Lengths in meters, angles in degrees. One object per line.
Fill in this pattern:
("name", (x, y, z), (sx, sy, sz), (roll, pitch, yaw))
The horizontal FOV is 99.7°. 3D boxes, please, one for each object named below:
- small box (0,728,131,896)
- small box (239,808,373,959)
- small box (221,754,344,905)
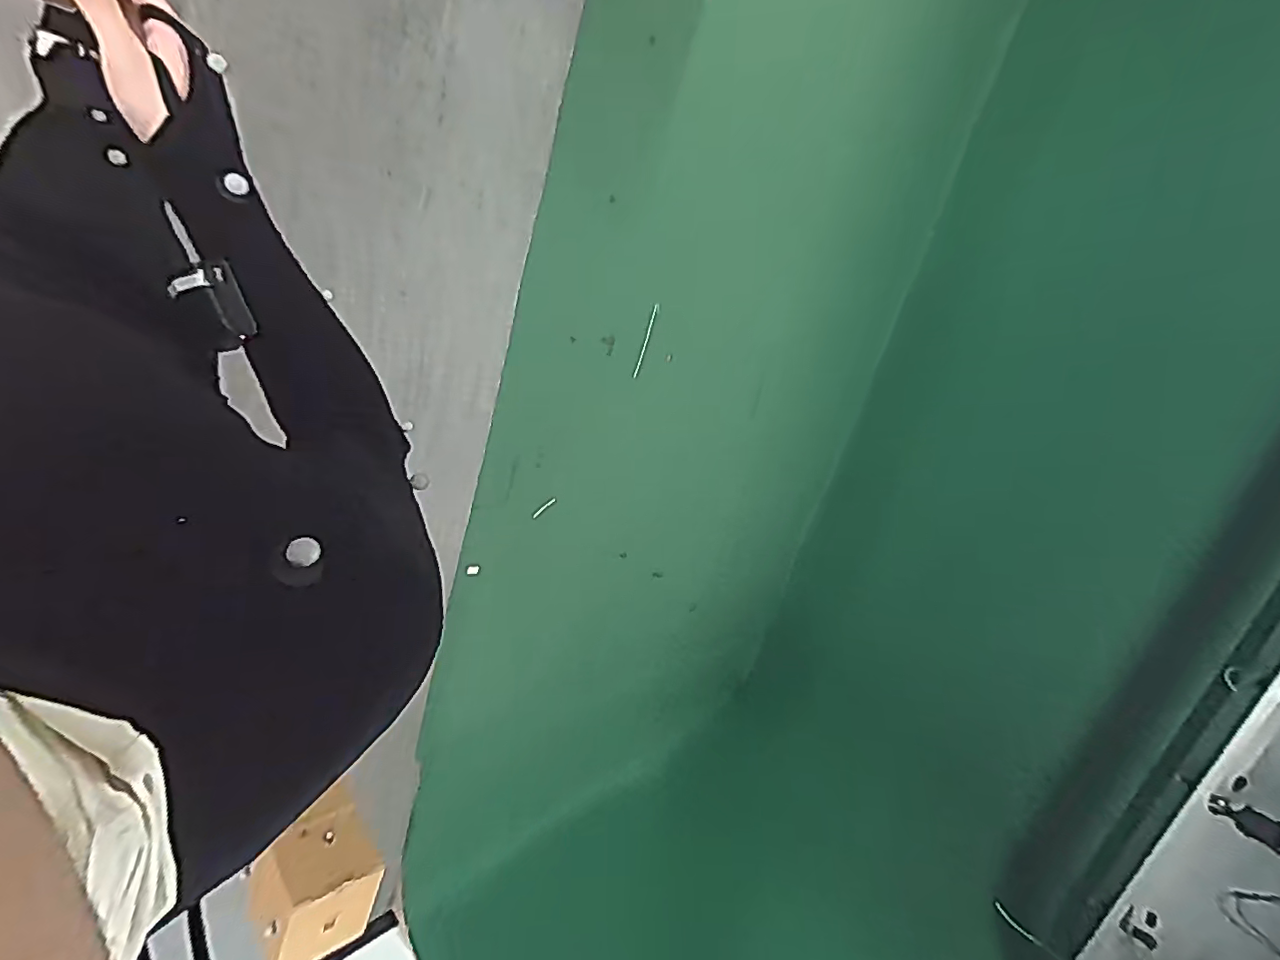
("small box", (-1.059, 0.586, 0.988), (0.168, 0.176, 0.179), (-1, 114, -49))
("small box", (-0.657, 0.796, 1.057), (0.168, 0.176, 0.179), (7, 107, -51))
("small box", (-0.769, 0.733, 1.156), (0.168, 0.176, 0.179), (6, 108, -52))
